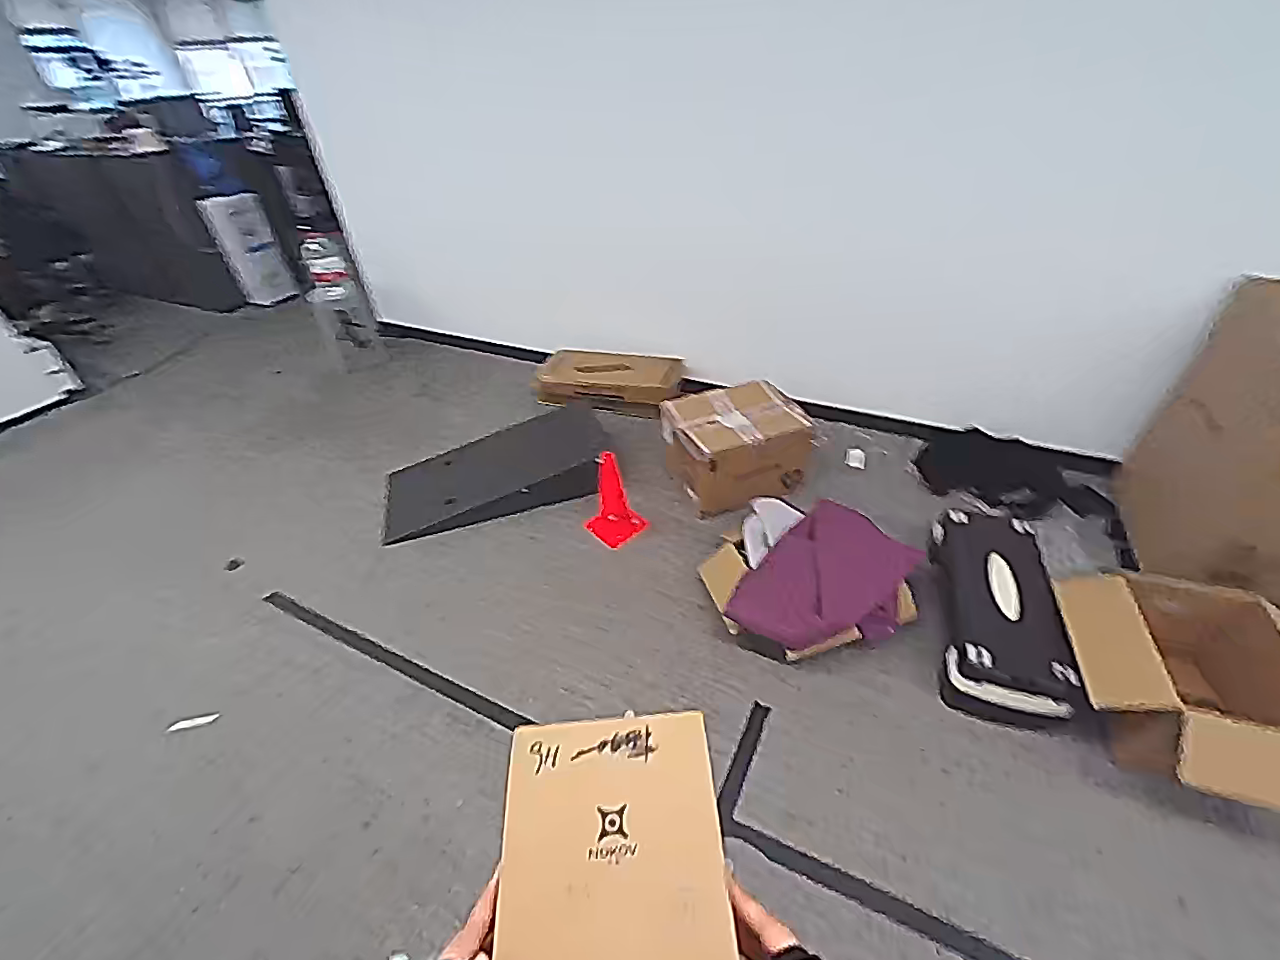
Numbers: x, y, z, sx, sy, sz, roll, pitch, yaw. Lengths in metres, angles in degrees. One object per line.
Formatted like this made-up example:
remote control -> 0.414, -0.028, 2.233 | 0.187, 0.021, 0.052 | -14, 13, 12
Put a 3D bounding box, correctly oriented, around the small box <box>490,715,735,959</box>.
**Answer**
small box -> -0.018, 0.324, 0.457 | 0.168, 0.176, 0.179 | -6, 46, -1
